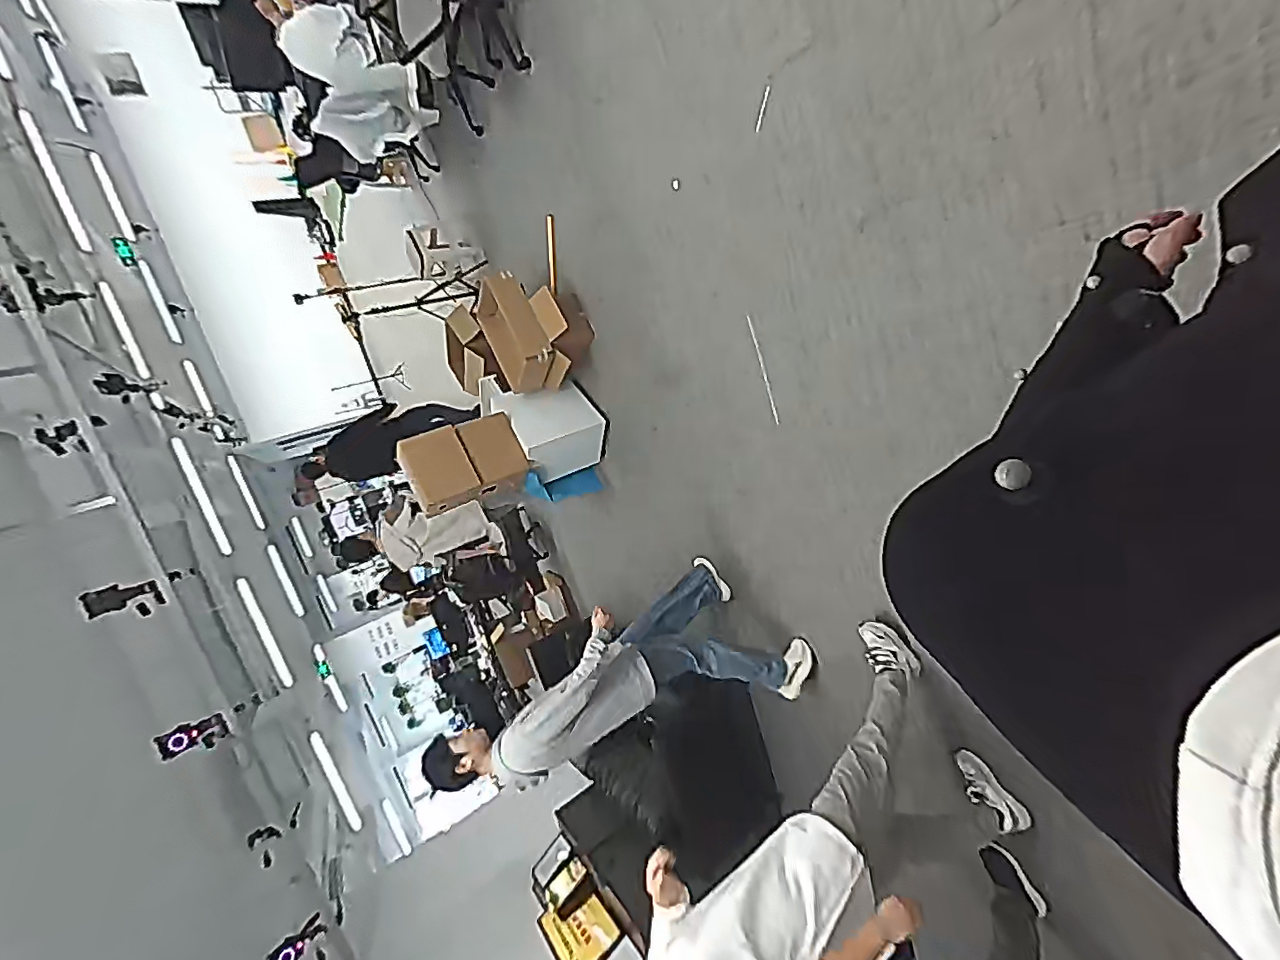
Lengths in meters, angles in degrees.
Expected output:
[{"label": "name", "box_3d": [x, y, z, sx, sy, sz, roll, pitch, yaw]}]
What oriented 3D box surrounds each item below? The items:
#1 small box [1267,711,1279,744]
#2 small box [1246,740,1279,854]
[{"label": "small box", "box_3d": [1.498, 0.607, 1.160, 0.179, 0.176, 0.168, 1, 111, 58]}, {"label": "small box", "box_3d": [1.366, 0.655, 1.080, 0.179, 0.176, 0.168, -1, 108, 58]}]
